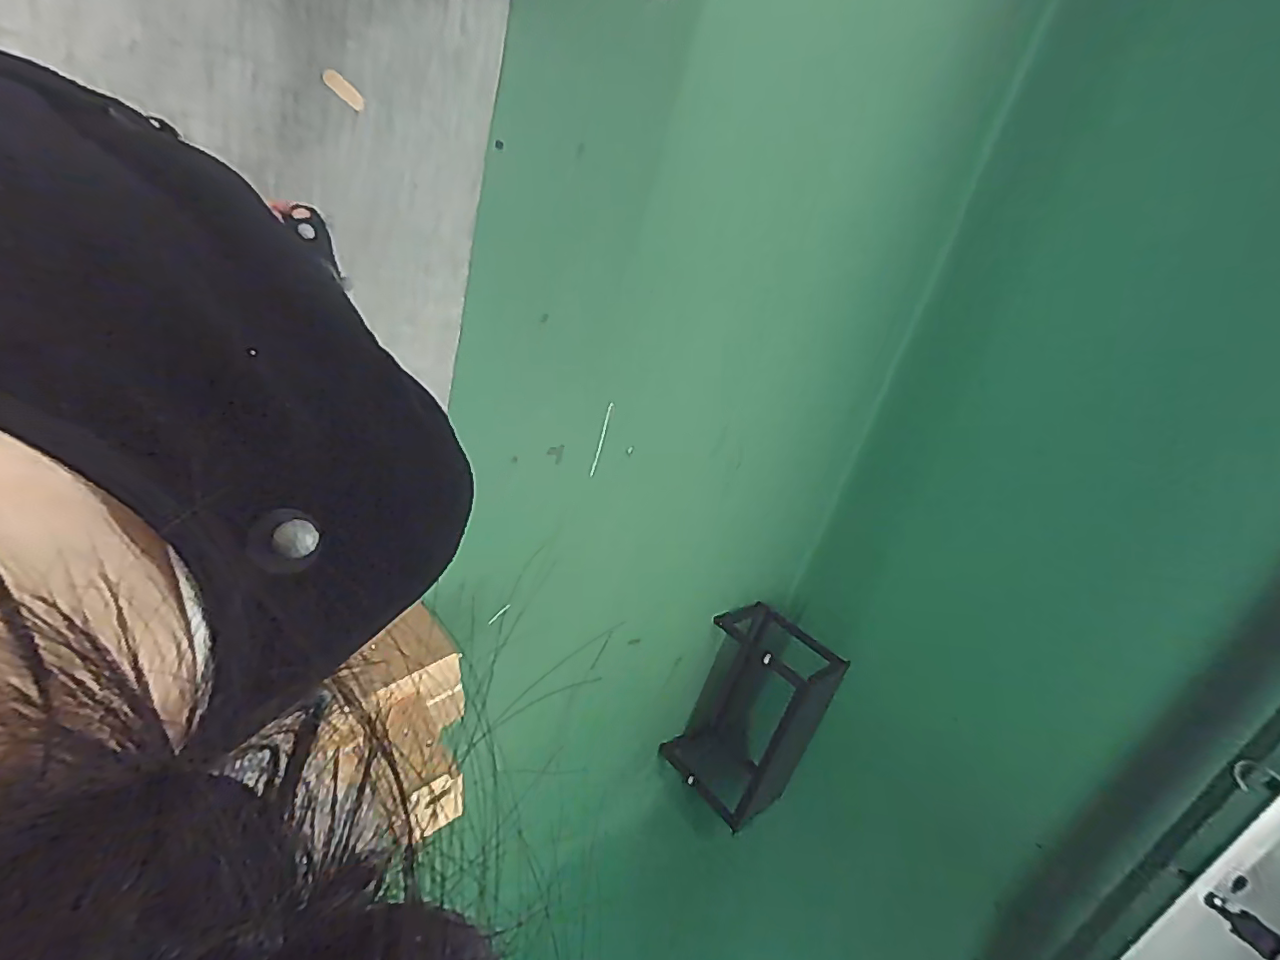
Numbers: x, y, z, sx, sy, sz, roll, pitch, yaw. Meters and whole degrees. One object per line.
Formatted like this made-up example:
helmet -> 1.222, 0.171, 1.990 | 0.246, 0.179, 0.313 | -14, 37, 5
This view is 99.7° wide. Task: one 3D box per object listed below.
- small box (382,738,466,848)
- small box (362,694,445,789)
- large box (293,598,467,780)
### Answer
small box -> -0.595, 0.847, 1.487 | 0.168, 0.176, 0.179 | -15, 125, -40
small box -> -0.694, 0.772, 1.594 | 0.179, 0.176, 0.168 | -17, 125, -39
large box -> -0.834, 0.659, 1.763 | 0.408, 0.320, 0.320 | -21, 131, -38
